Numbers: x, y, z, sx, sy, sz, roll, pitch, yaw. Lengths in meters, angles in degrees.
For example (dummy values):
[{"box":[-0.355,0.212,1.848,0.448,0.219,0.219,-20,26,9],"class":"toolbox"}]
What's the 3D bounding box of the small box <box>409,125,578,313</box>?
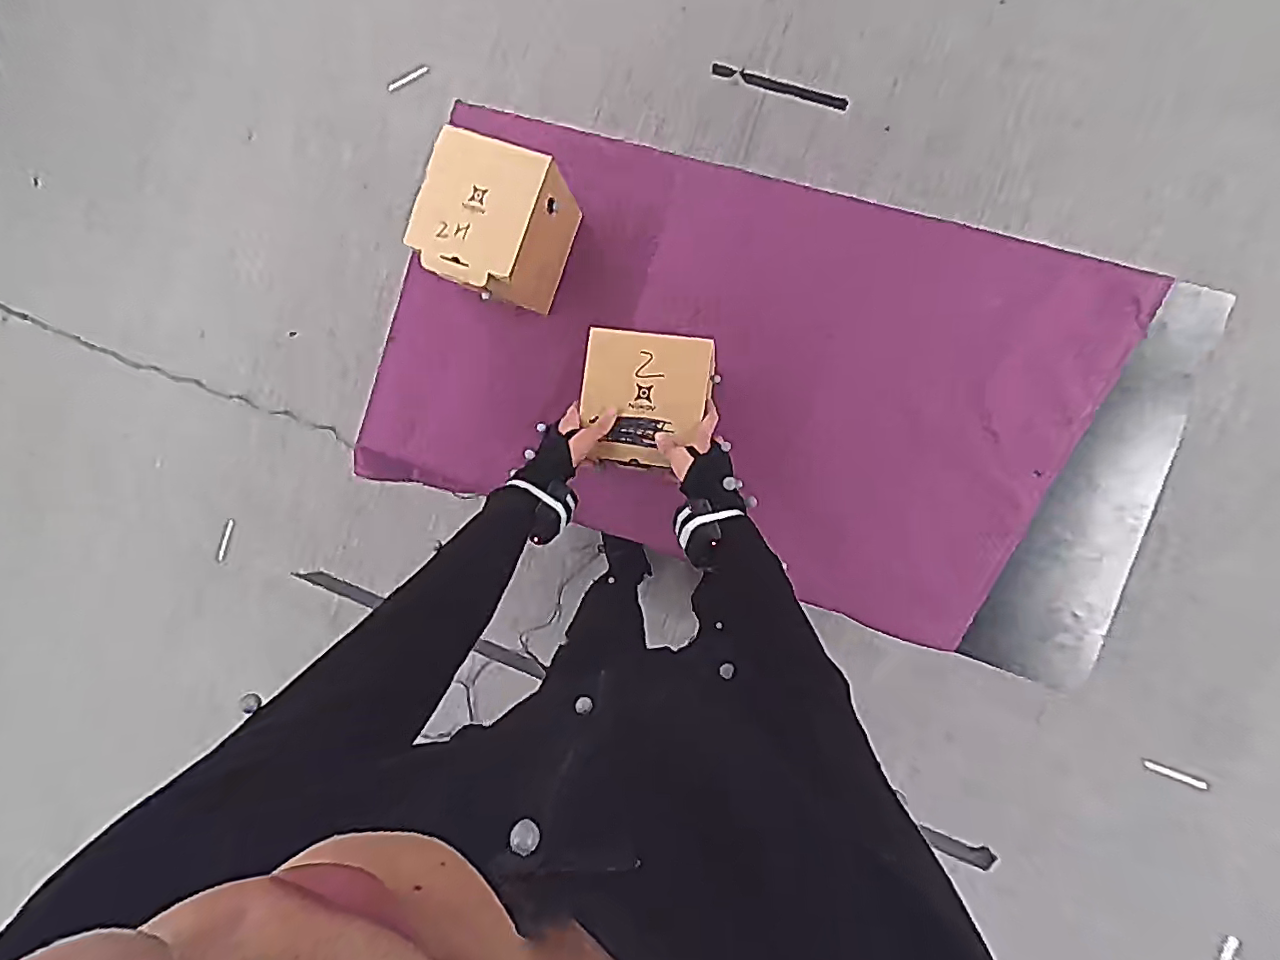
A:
[{"box":[-0.205,-0.378,0.811,0.168,0.176,0.179,21,94,7],"class":"small box"}]
